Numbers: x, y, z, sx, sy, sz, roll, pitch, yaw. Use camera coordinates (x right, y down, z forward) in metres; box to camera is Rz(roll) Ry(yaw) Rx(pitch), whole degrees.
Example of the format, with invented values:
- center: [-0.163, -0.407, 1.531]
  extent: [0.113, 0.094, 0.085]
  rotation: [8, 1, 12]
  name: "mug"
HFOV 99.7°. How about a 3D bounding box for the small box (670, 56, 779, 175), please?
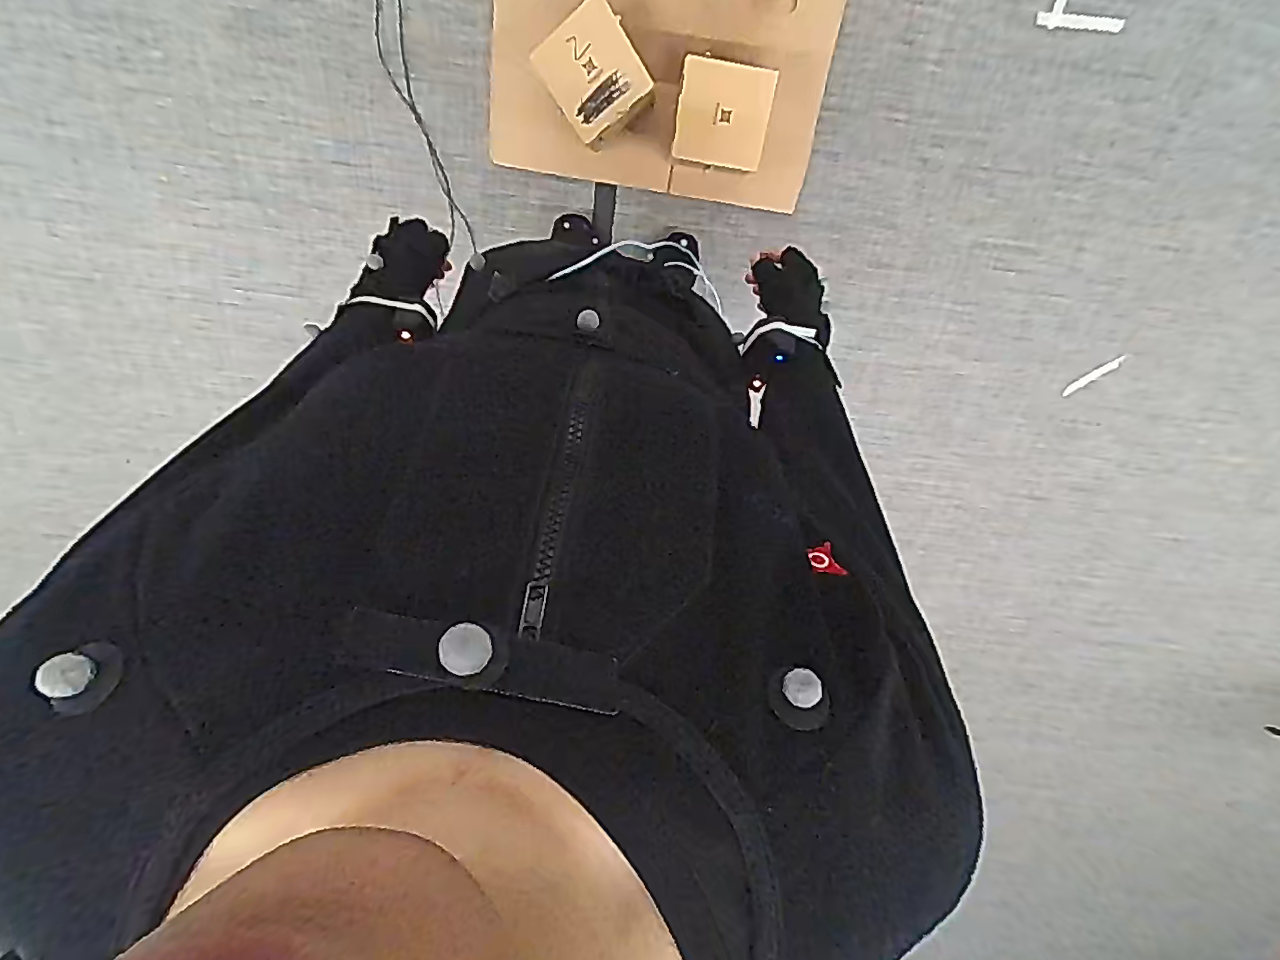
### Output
- center: [0.161, -0.727, 1.098]
  extent: [0.179, 0.176, 0.168]
  rotation: [10, 117, -2]
  name: "small box"
